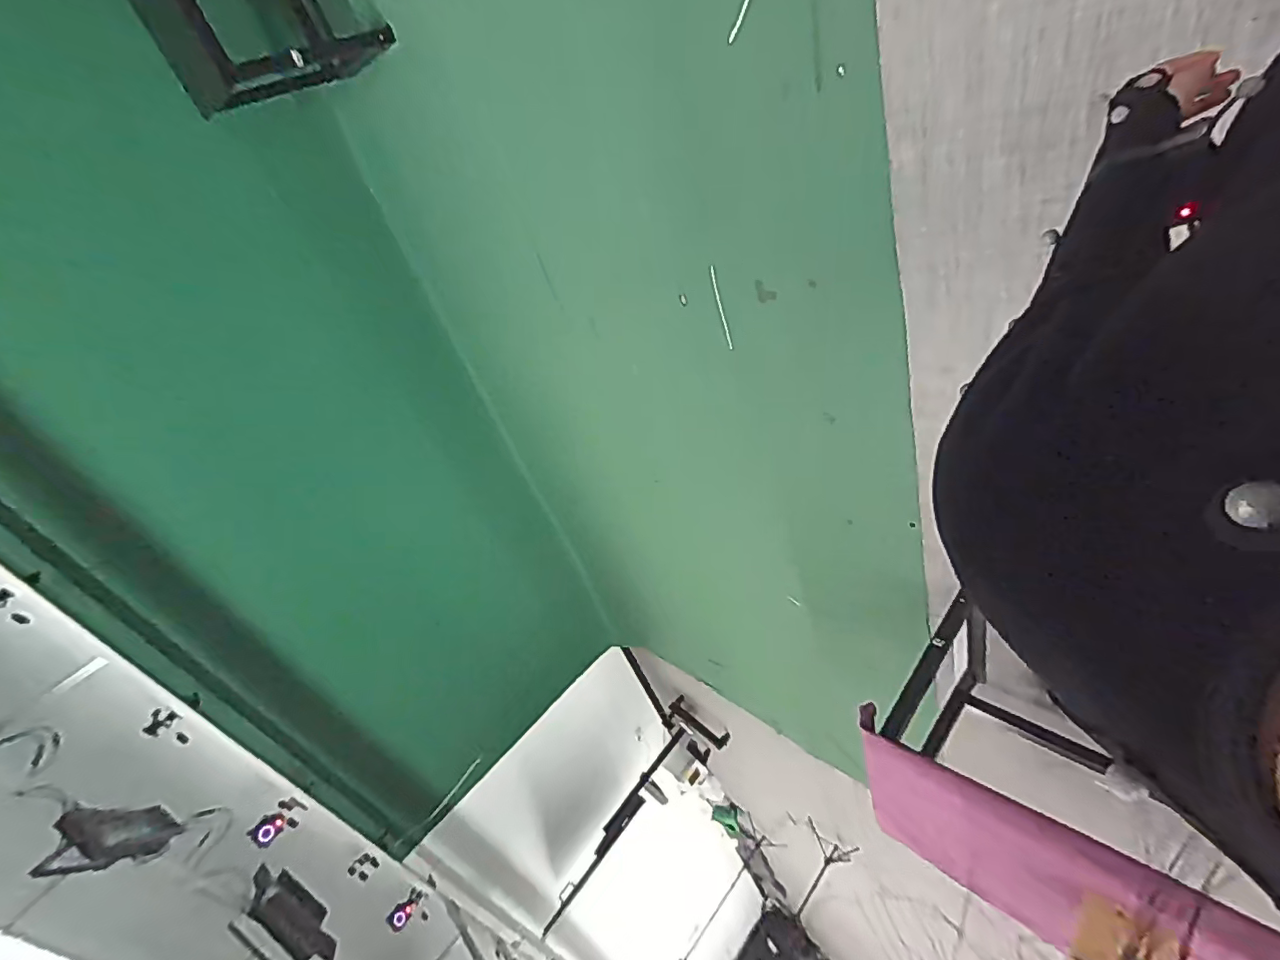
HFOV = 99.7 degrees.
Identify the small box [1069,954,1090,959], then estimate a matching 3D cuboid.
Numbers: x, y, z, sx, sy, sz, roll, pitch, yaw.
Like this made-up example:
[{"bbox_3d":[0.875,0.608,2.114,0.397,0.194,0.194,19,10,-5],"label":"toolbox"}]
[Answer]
[{"bbox_3d":[1.015,1.193,1.179,0.168,0.176,0.179,17,141,45],"label":"small box"}]
